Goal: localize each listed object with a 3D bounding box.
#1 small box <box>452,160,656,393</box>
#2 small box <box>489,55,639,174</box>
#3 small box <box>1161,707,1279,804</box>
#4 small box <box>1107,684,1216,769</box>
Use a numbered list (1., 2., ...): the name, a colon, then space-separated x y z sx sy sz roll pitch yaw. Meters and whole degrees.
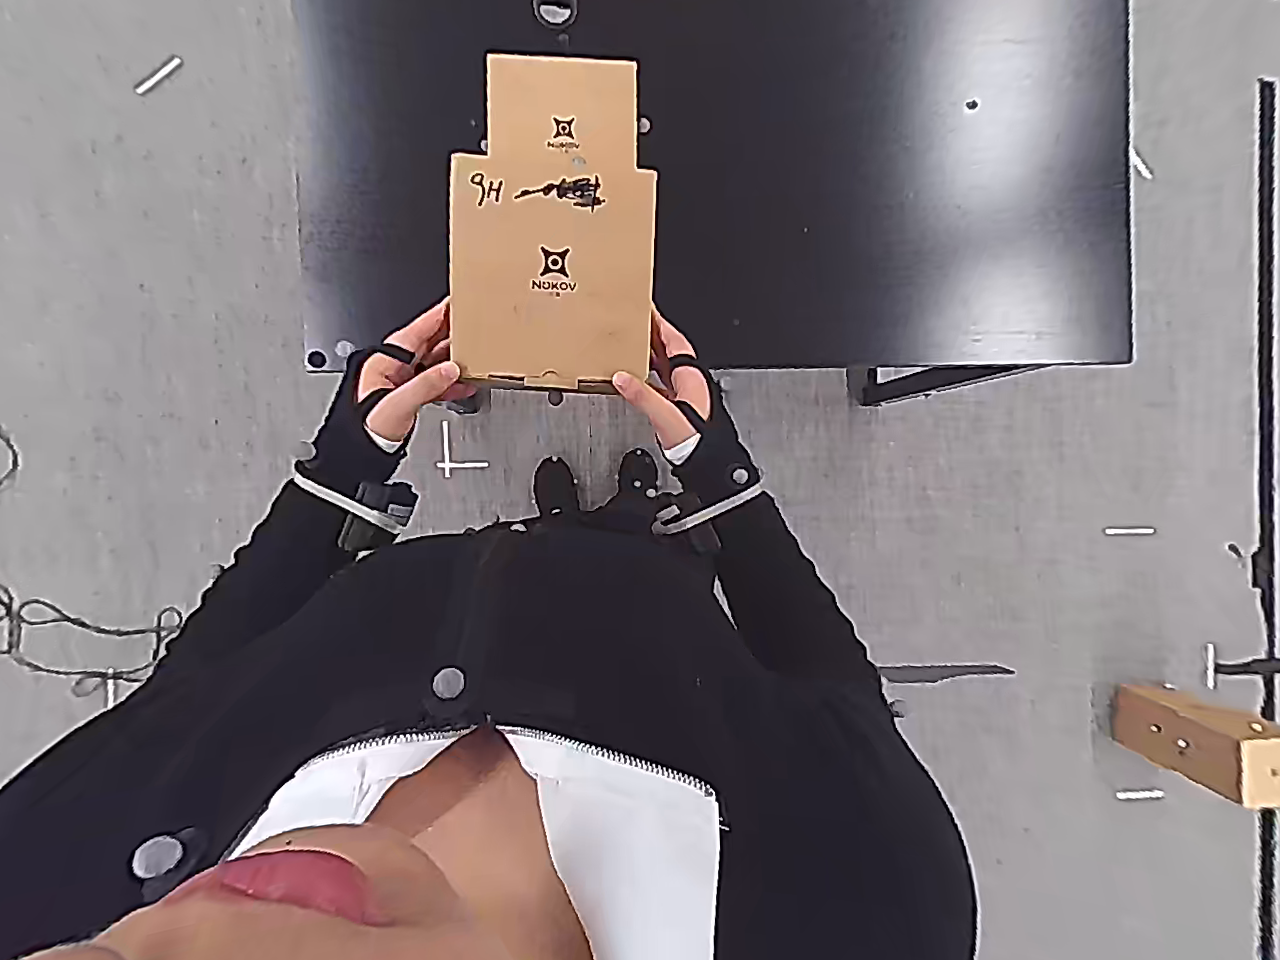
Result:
1. small box: -0.078 -0.176 0.524 0.168 0.176 0.179 1 97 -6
2. small box: -0.091 -0.378 0.678 0.168 0.176 0.179 0 91 -4
3. small box: 1.512 0.702 1.396 0.179 0.176 0.168 -3 90 -3
4. small box: 1.498 0.703 1.558 0.168 0.176 0.179 2 92 -4
